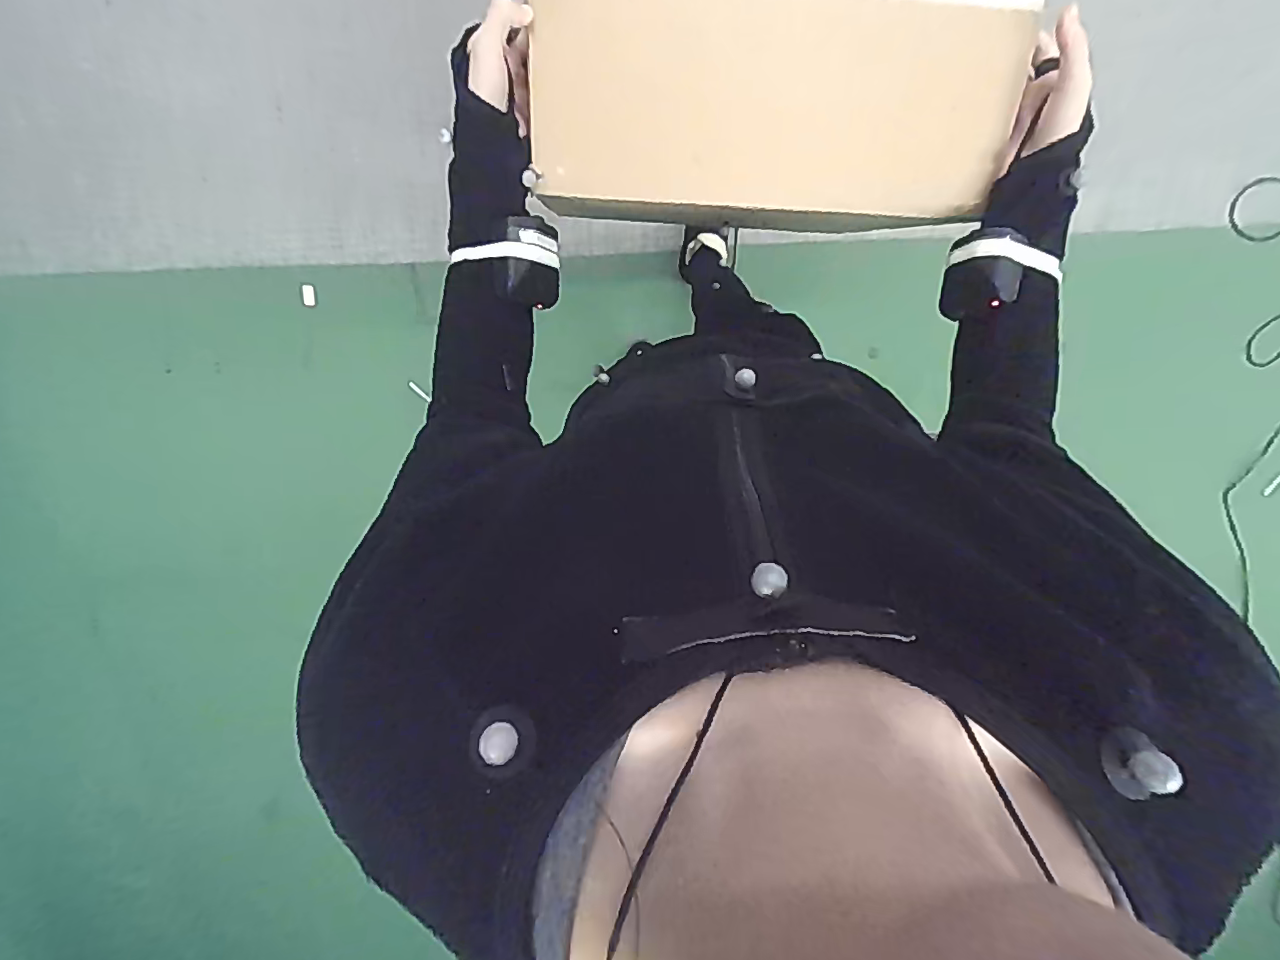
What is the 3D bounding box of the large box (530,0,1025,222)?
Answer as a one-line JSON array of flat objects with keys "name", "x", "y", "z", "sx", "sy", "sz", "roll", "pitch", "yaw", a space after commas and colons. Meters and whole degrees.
[{"name": "large box", "x": 0.105, "y": -0.444, "z": 0.558, "sx": 0.408, "sy": 0.320, "sz": 0.320, "roll": 1, "pitch": 112, "yaw": -4}]
